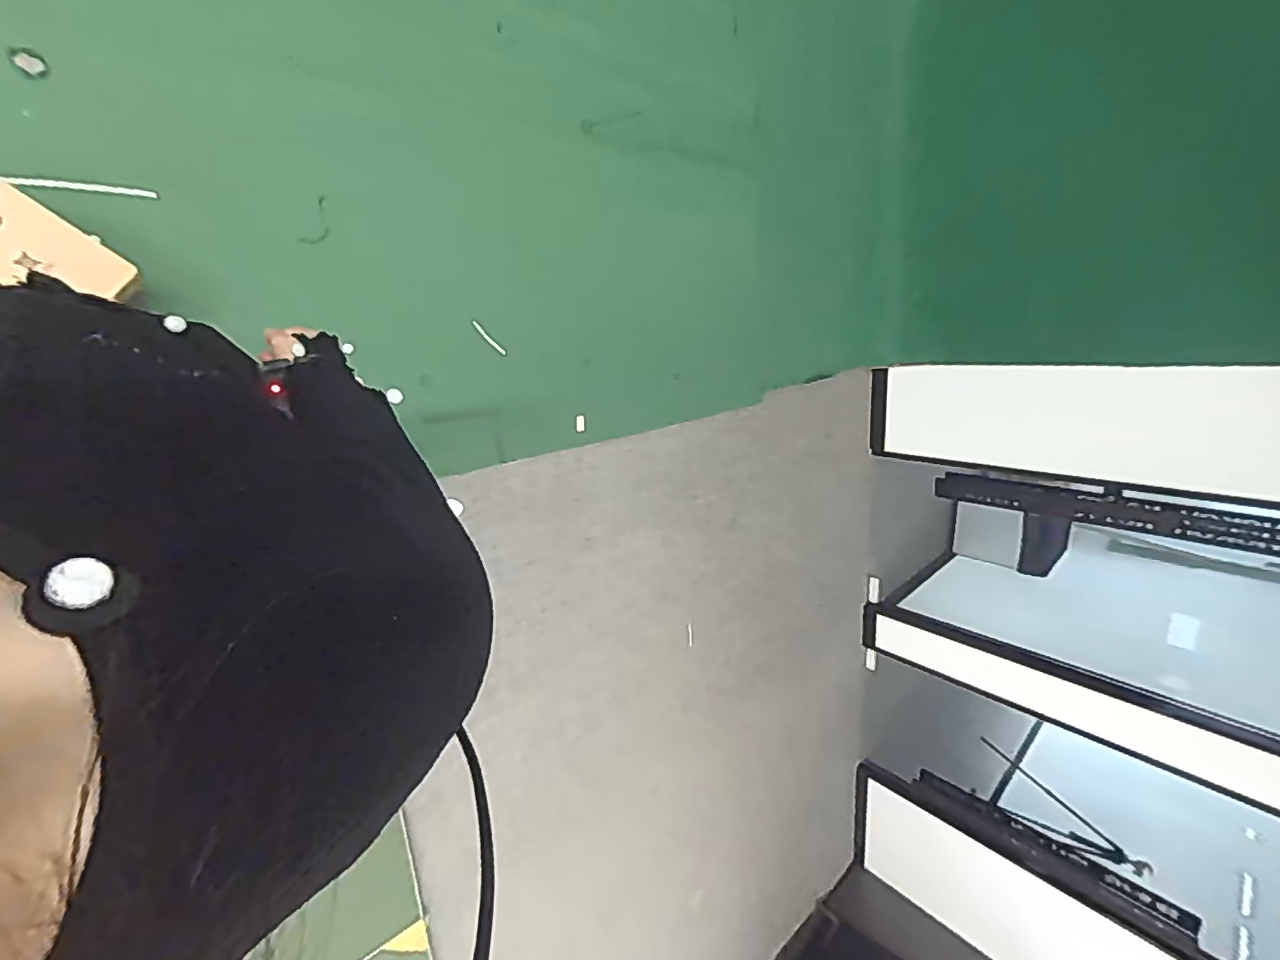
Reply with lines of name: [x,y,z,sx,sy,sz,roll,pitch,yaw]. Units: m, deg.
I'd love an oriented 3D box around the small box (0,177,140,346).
small box: [-0.943,-0.333,0.853,0.179,0.176,0.168,42,71,-39]
